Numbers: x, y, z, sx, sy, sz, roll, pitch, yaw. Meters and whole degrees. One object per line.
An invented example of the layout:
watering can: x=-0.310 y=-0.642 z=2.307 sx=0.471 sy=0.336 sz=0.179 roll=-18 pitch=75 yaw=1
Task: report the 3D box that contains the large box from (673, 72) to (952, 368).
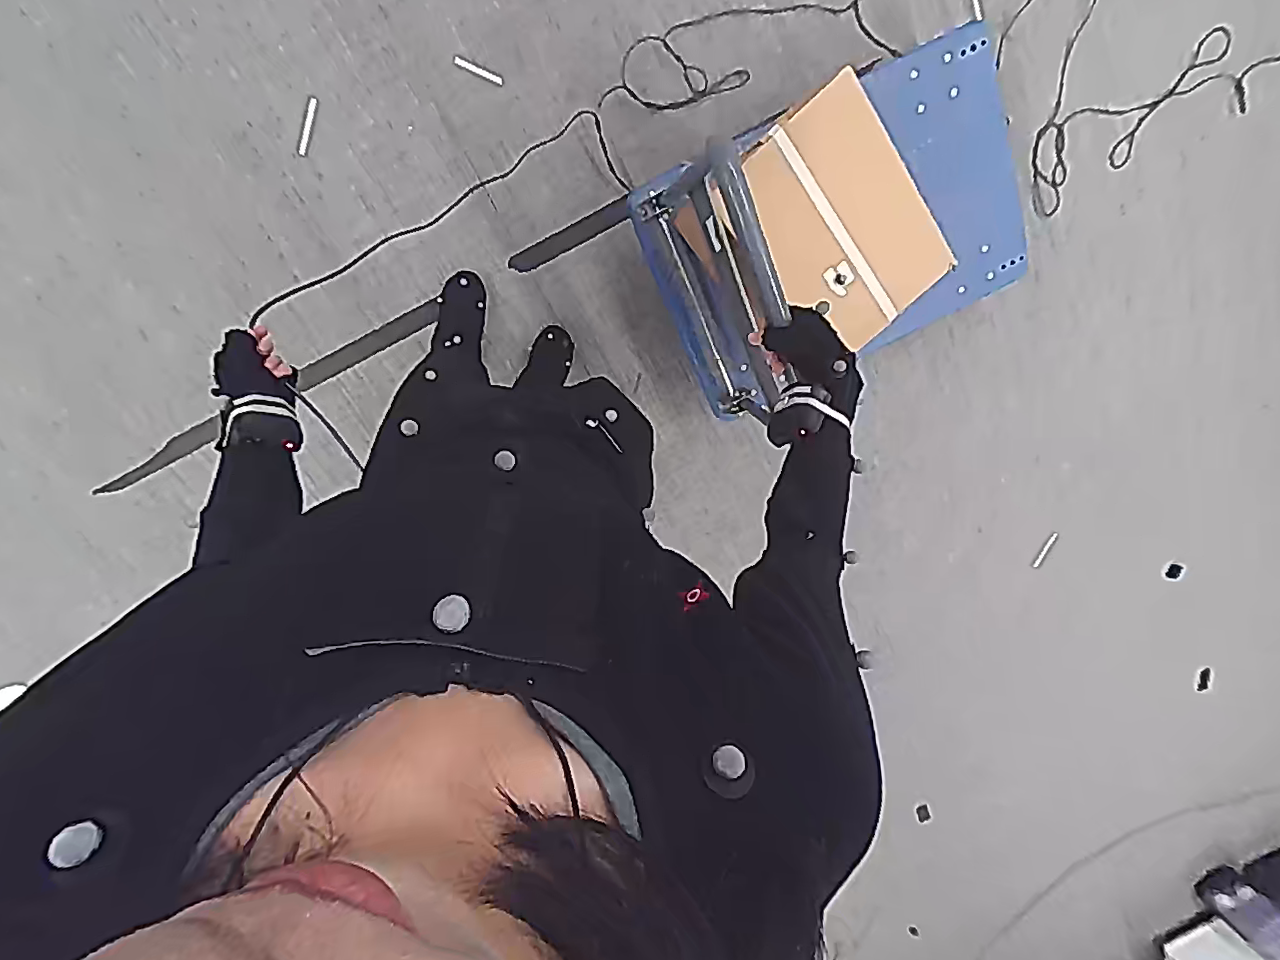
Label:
large box: x=0.332 y=-0.497 z=1.116 sx=0.320 sy=0.320 sz=0.408 roll=-41 pitch=110 yaw=6
